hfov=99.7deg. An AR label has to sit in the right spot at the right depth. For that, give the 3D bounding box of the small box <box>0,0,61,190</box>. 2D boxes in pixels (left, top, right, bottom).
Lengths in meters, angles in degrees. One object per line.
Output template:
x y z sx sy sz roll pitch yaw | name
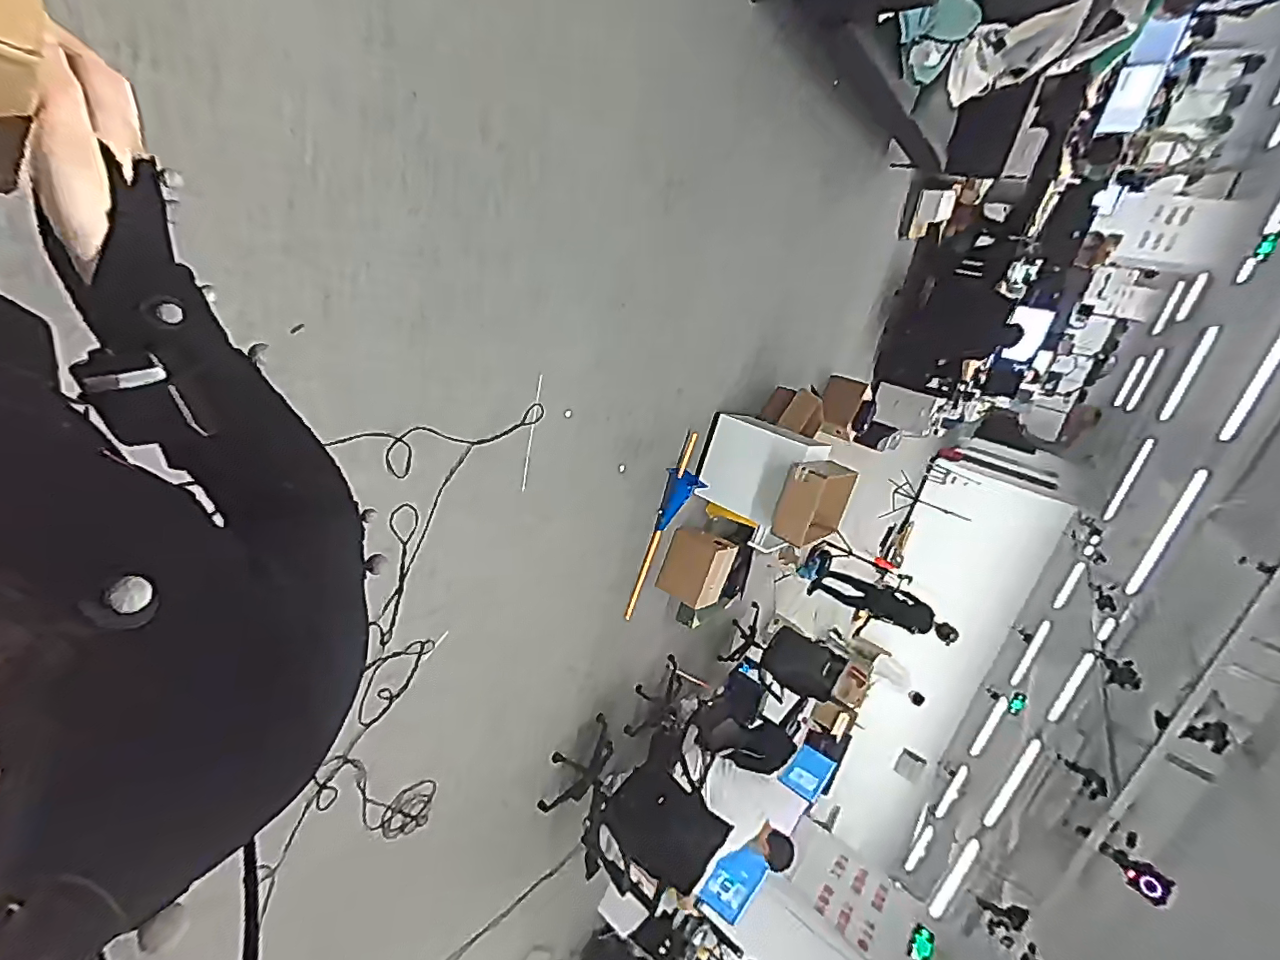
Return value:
-0.397 -0.270 0.241 0.168 0.176 0.179 -5 92 -53 | small box
